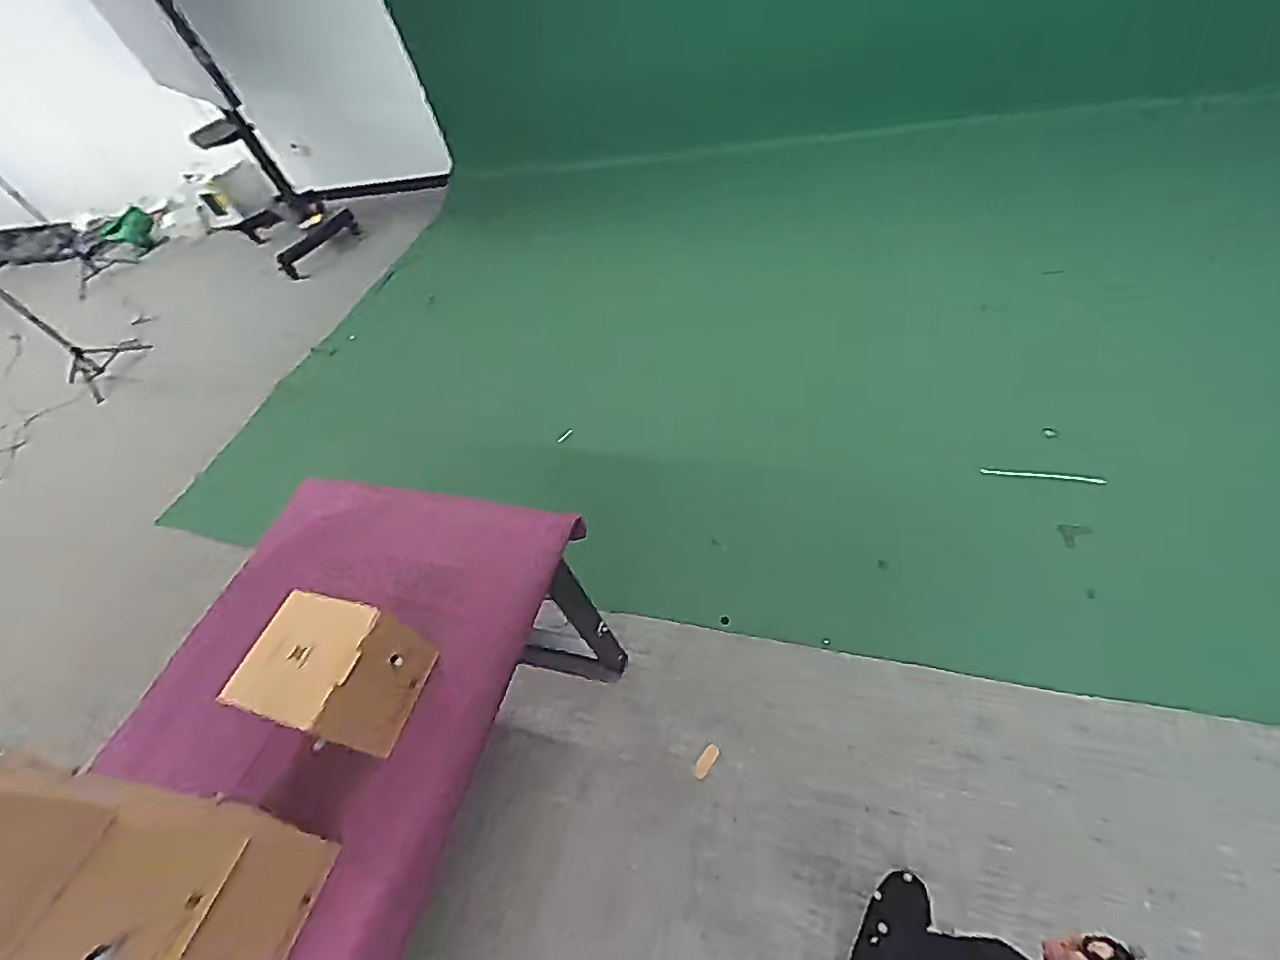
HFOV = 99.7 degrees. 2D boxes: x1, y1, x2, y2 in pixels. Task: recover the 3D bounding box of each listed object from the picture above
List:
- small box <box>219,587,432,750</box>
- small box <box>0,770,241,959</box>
[{"bbox_3d":[-0.448,0.282,0.802,0.179,0.176,0.168,6,54,21],"label":"small box"},{"bbox_3d":[-0.554,0.399,0.528,0.179,0.176,0.168,6,55,21],"label":"small box"}]
